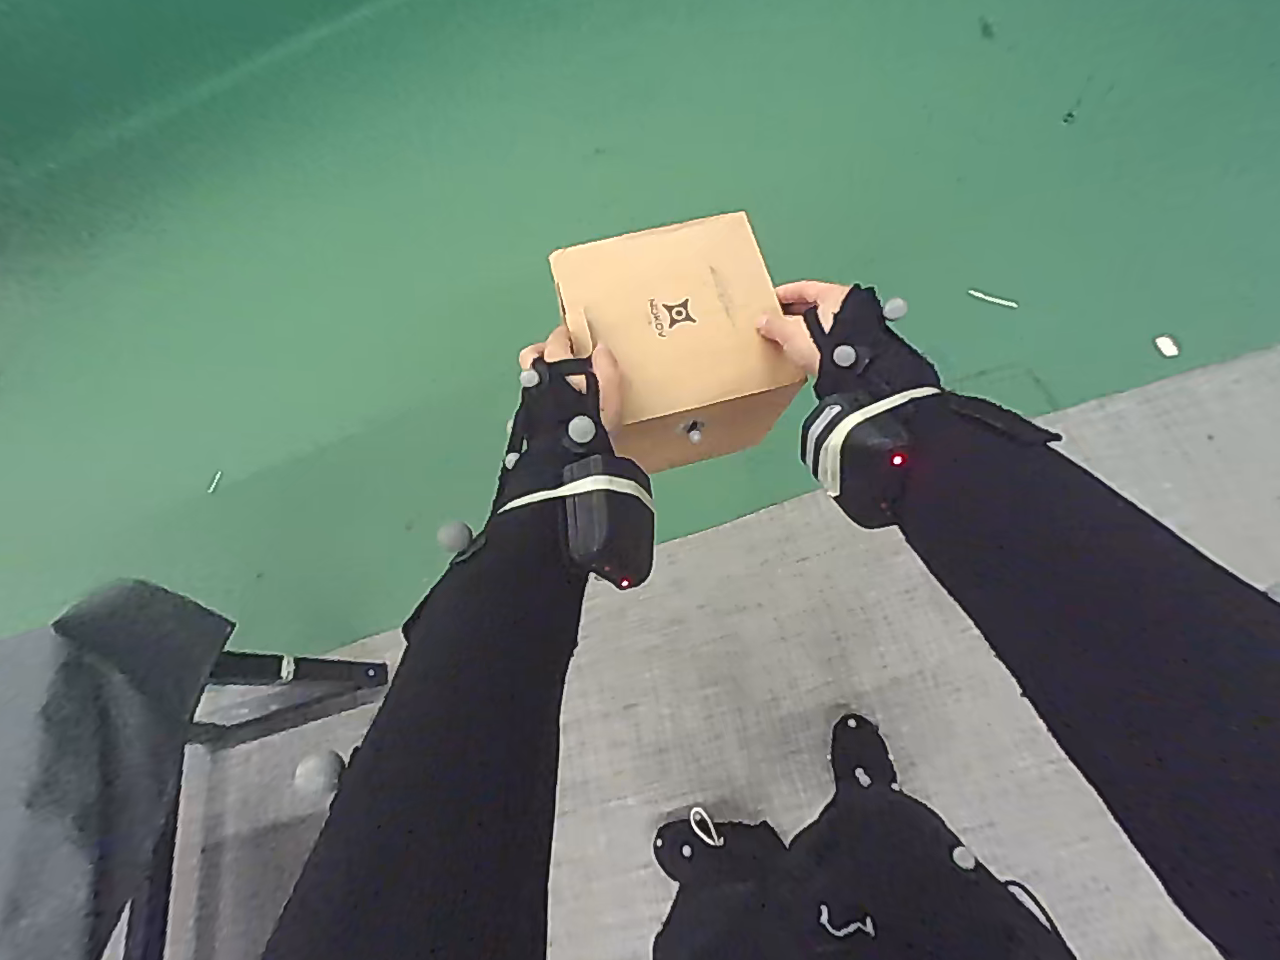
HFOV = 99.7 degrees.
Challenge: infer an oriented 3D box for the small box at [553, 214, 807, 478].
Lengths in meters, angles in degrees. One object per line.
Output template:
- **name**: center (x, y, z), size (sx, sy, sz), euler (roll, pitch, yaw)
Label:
- **small box**: center (0.028, -0.113, 0.515), size (0.179, 0.176, 0.168), euler (-14, 76, -6)
